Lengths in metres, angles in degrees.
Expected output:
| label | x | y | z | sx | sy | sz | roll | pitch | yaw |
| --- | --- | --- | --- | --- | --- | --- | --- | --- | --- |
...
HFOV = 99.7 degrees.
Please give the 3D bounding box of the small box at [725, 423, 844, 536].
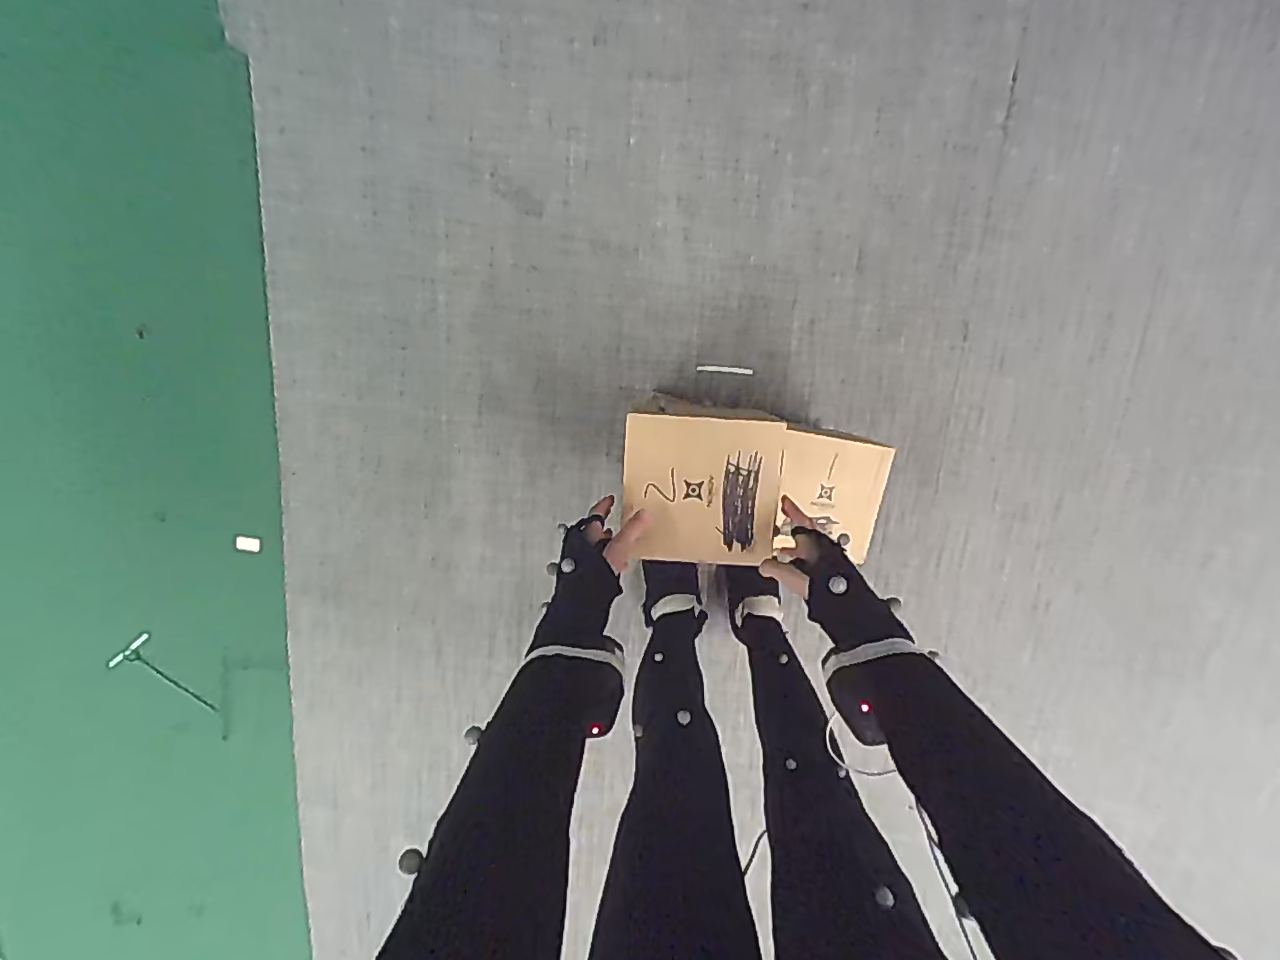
| label | x | y | z | sx | sy | sz | roll | pitch | yaw |
| --- | --- | --- | --- | --- | --- | --- | --- | --- | --- |
| small box | 0.257 | -0.009 | 1.005 | 0.168 | 0.176 | 0.179 | 4 | 103 | -1 |
